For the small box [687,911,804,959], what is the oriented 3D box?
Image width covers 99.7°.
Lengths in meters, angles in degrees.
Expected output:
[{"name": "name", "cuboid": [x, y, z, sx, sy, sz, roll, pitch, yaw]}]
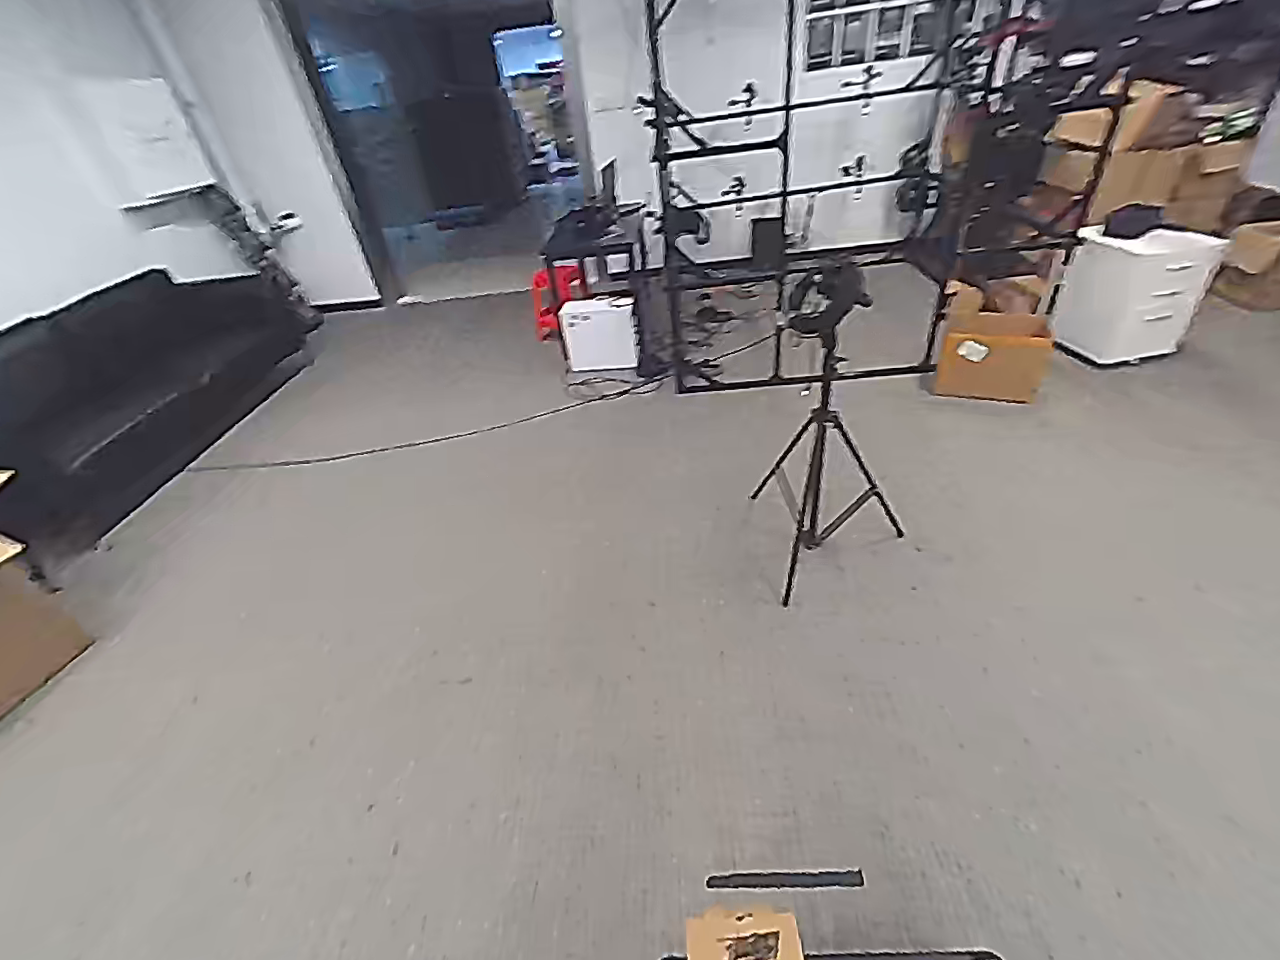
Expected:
[{"name": "small box", "cuboid": [0.158, 0.763, 0.786, 0.168, 0.176, 0.179, -5, 37, 4]}]
